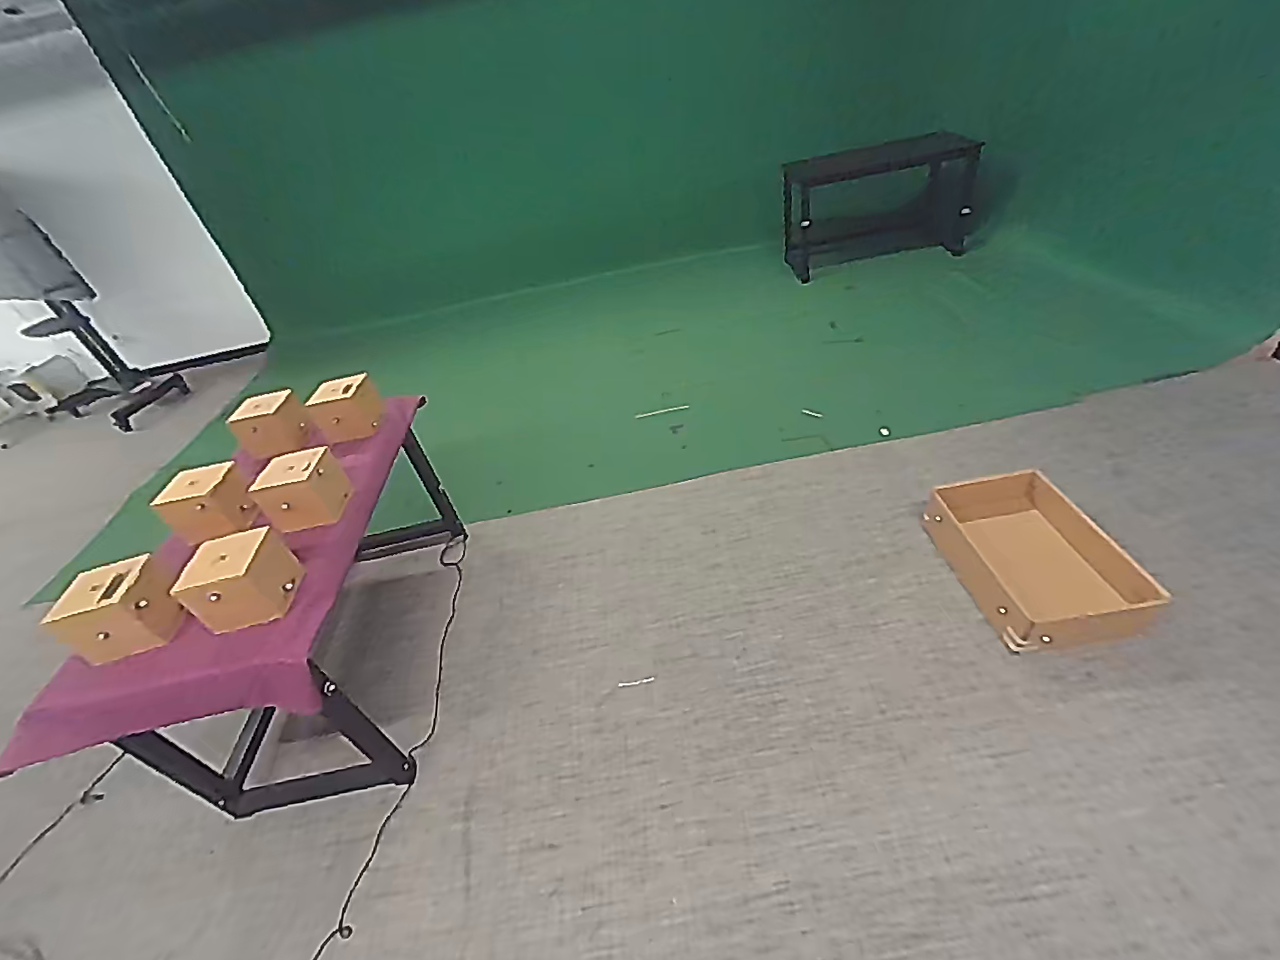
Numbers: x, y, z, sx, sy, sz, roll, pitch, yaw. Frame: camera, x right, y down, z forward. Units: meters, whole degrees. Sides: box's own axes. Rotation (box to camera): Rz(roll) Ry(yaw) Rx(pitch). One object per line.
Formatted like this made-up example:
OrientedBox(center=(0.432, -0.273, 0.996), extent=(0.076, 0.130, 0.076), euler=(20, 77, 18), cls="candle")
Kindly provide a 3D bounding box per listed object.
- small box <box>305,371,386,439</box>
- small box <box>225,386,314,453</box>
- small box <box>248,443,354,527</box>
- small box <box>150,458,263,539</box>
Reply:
OrientedBox(center=(-1.060, -0.271, 1.964), extent=(0.179, 0.176, 0.168), euler=(-10, 40, 6), cls="small box")
OrientedBox(center=(-1.346, -0.217, 1.977), extent=(0.179, 0.176, 0.168), euler=(-10, 40, 2), cls="small box")
OrientedBox(center=(-0.991, 0.020, 1.598), extent=(0.179, 0.176, 0.168), euler=(-12, 39, 4), cls="small box")
OrientedBox(center=(-1.300, 0.059, 1.637), extent=(0.179, 0.176, 0.168), euler=(-11, 39, 0), cls="small box")
